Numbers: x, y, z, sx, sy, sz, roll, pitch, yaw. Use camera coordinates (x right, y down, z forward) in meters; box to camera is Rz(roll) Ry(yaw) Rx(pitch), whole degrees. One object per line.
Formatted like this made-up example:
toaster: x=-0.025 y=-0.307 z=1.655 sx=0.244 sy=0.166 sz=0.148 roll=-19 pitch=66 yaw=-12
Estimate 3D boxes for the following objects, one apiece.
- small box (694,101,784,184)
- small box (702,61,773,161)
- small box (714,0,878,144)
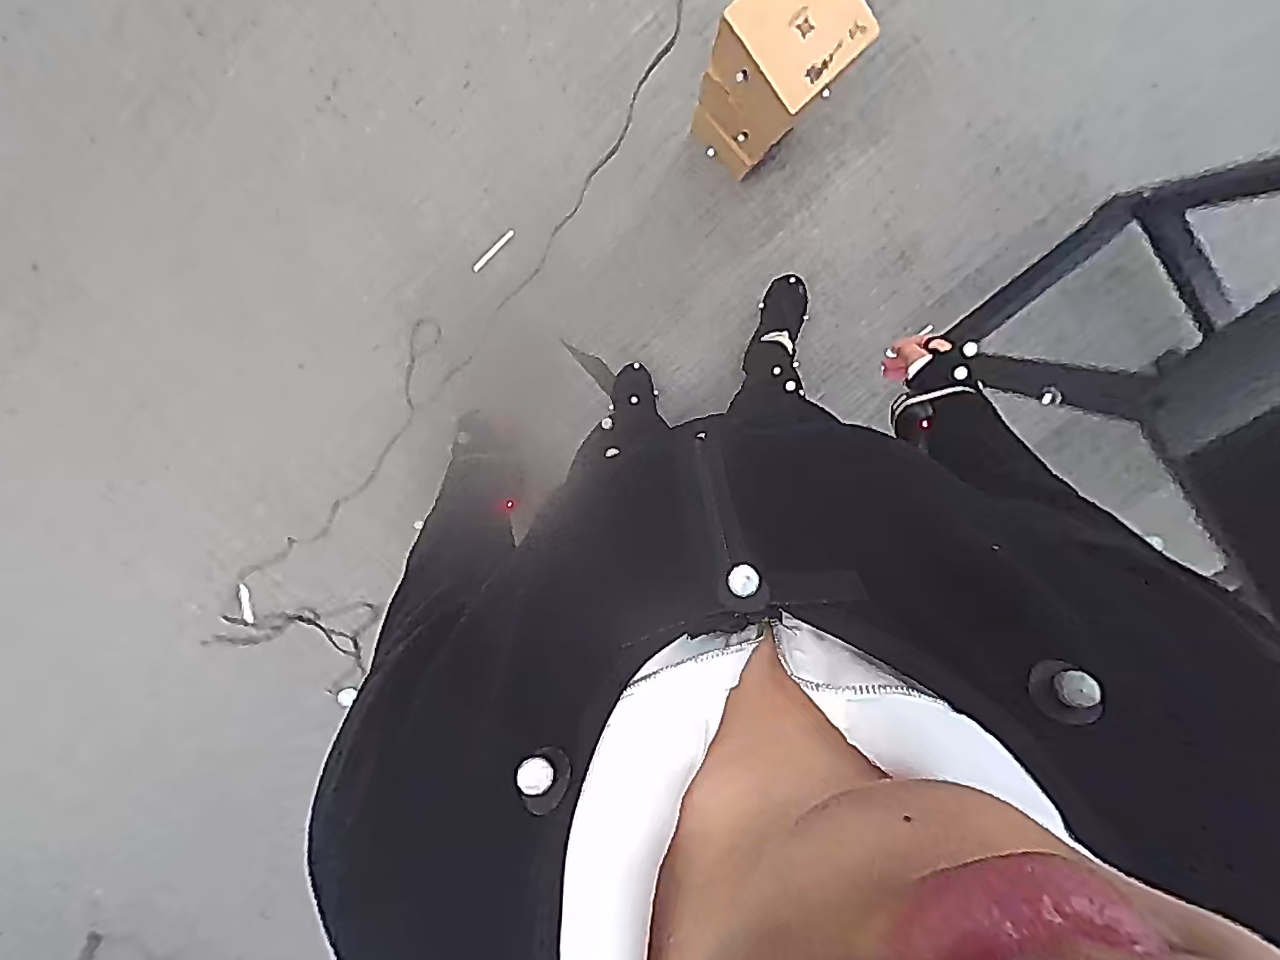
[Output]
small box: x=0.234 y=-0.790 z=1.182 sx=0.179 sy=0.176 sz=0.168 roll=-43 pitch=101 yaw=14
small box: x=0.233 y=-0.750 z=1.025 sx=0.168 sy=0.176 sz=0.179 roll=40 pitch=102 yaw=-11
small box: x=0.237 y=-0.691 z=0.871 sx=0.168 sy=0.176 sz=0.179 roll=-40 pitch=102 yaw=12
